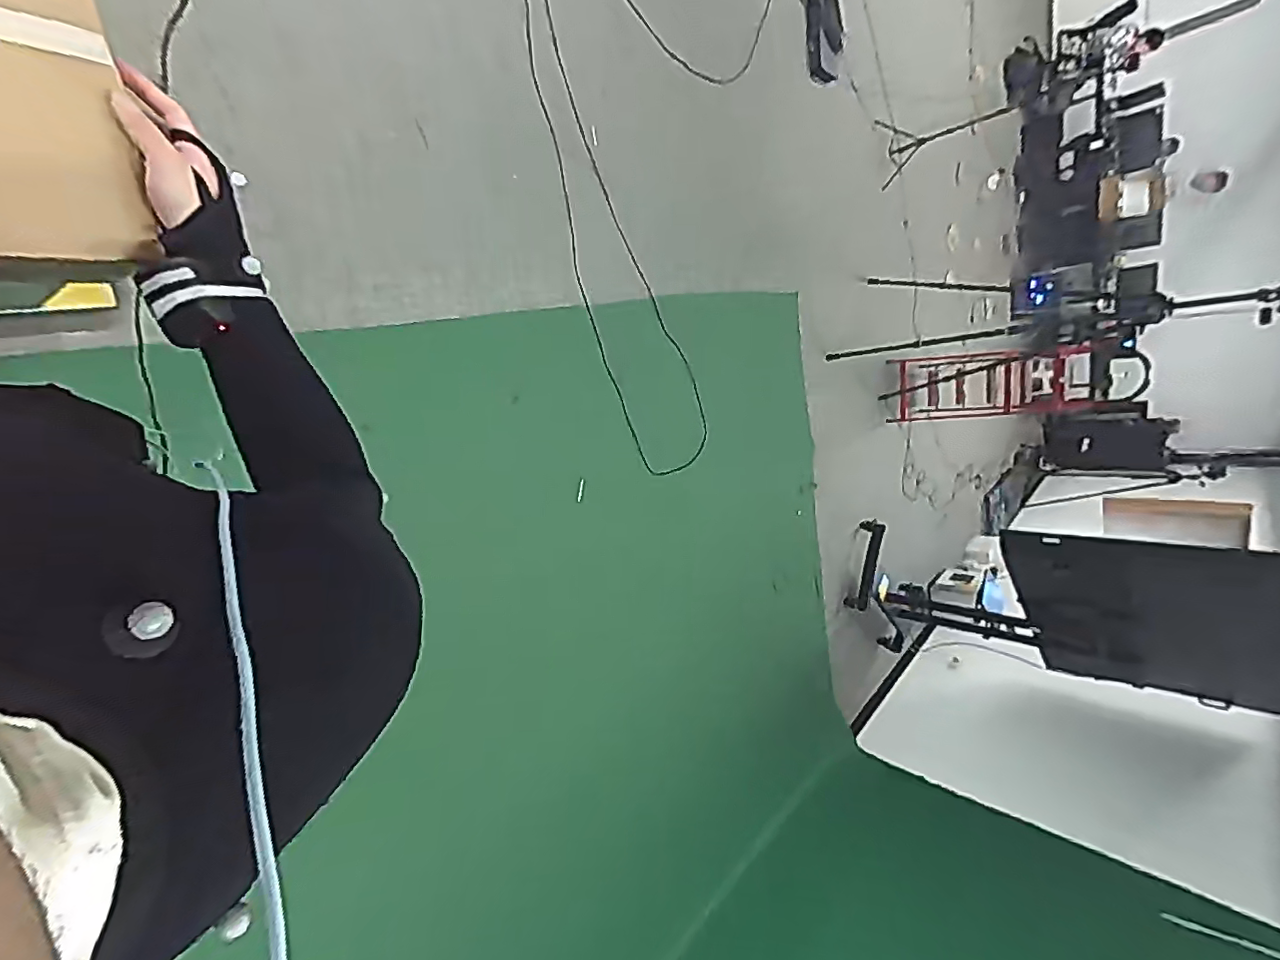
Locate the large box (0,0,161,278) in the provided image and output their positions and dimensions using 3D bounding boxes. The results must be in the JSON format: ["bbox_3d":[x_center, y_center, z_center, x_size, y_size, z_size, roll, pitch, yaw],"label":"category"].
[{"bbox_3d":[-0.678,-0.322,0.394,0.408,0.320,0.320,-21,116,-46],"label":"large box"}]
